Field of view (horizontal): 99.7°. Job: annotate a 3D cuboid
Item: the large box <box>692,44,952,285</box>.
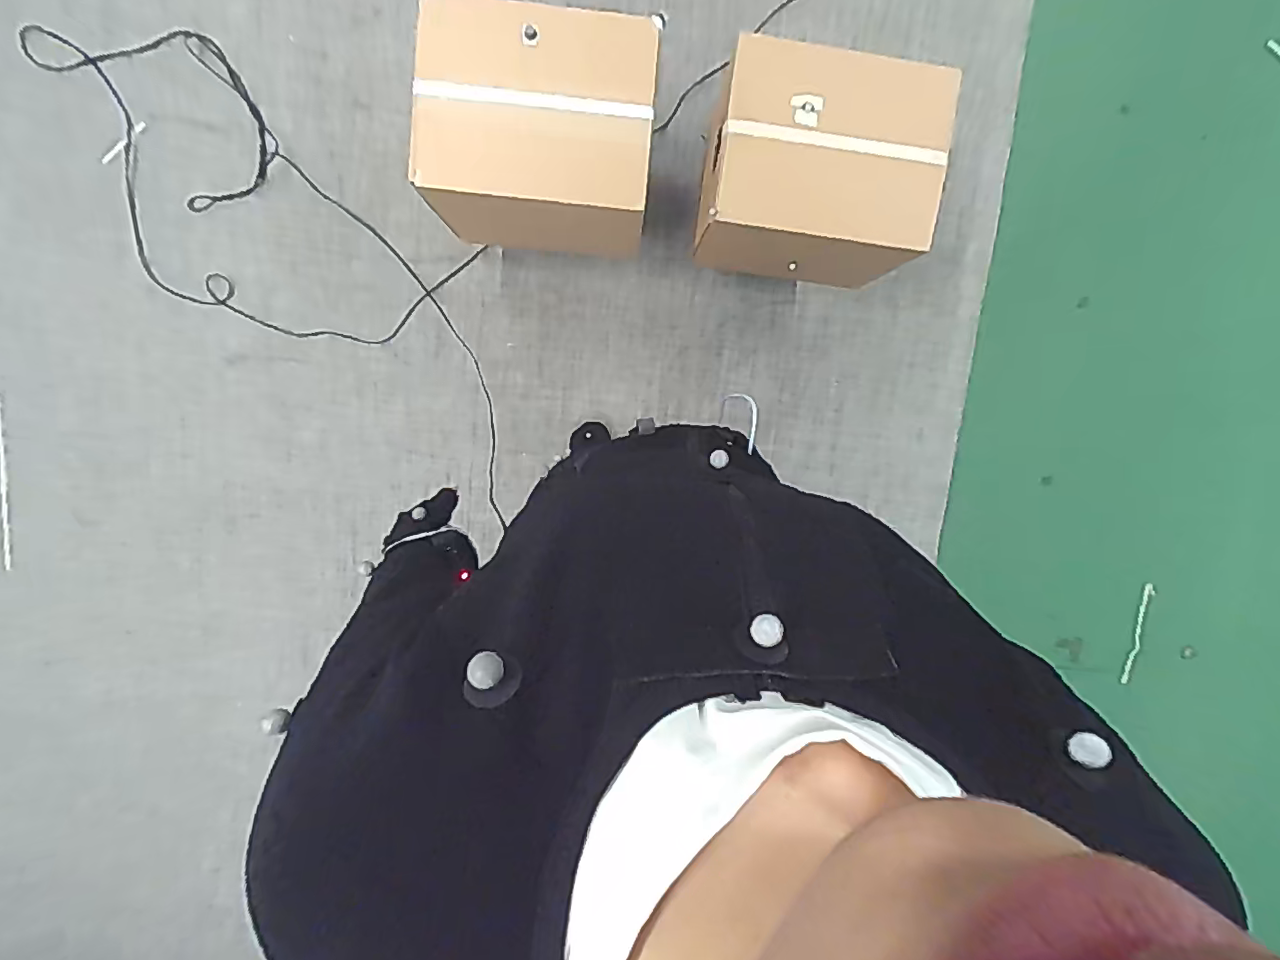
[{"bbox_3d":[0.342,-0.613,1.121,0.408,0.320,0.320,7,96,-3],"label":"large box"}]
